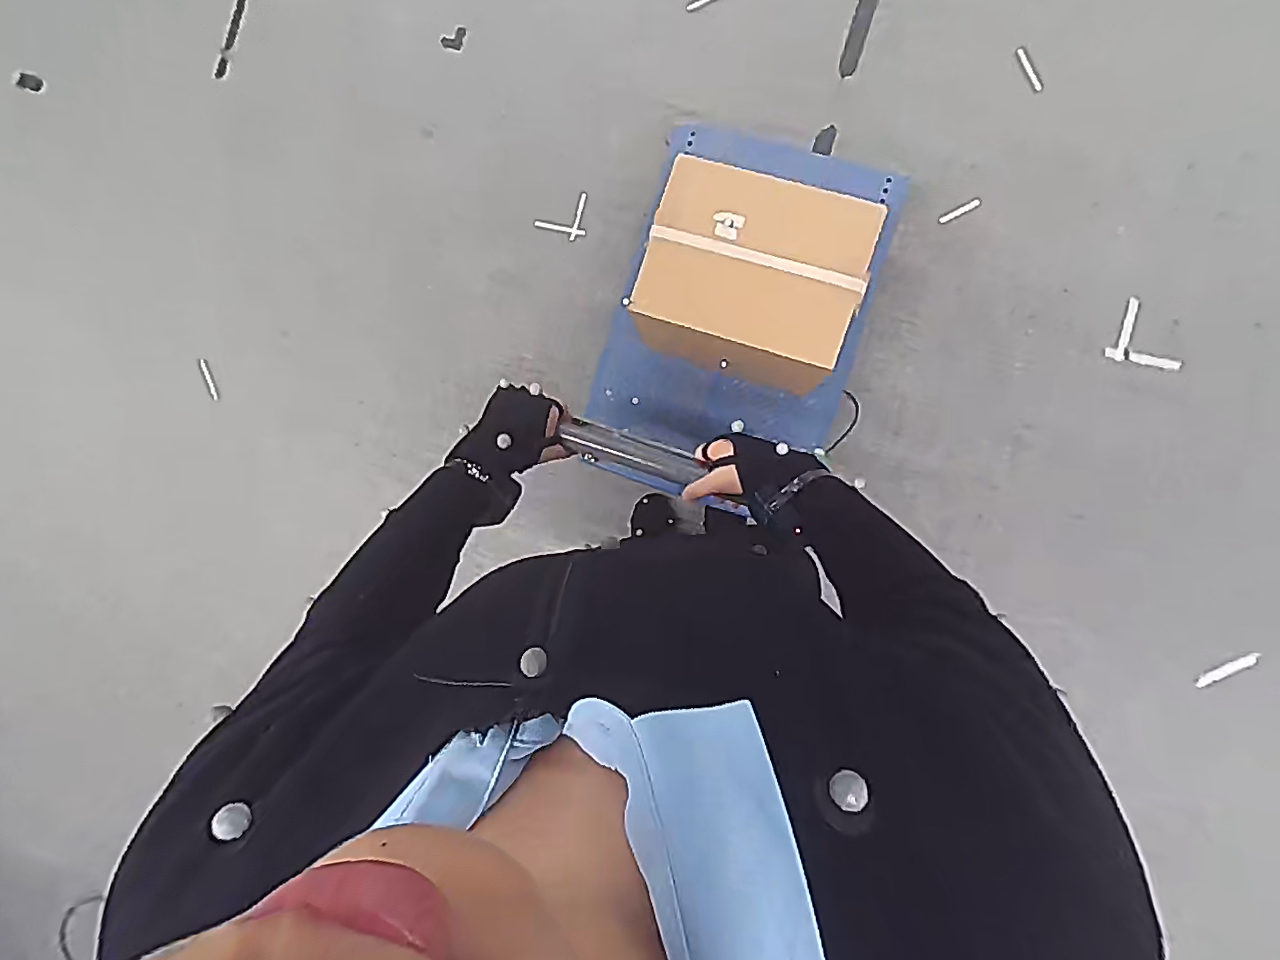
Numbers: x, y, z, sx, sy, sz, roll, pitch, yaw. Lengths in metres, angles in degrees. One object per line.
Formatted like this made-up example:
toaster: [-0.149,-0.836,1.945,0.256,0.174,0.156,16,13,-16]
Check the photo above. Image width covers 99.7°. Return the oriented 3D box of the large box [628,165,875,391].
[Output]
large box: [0.230,-0.412,1.177,0.408,0.320,0.320,18,91,8]
